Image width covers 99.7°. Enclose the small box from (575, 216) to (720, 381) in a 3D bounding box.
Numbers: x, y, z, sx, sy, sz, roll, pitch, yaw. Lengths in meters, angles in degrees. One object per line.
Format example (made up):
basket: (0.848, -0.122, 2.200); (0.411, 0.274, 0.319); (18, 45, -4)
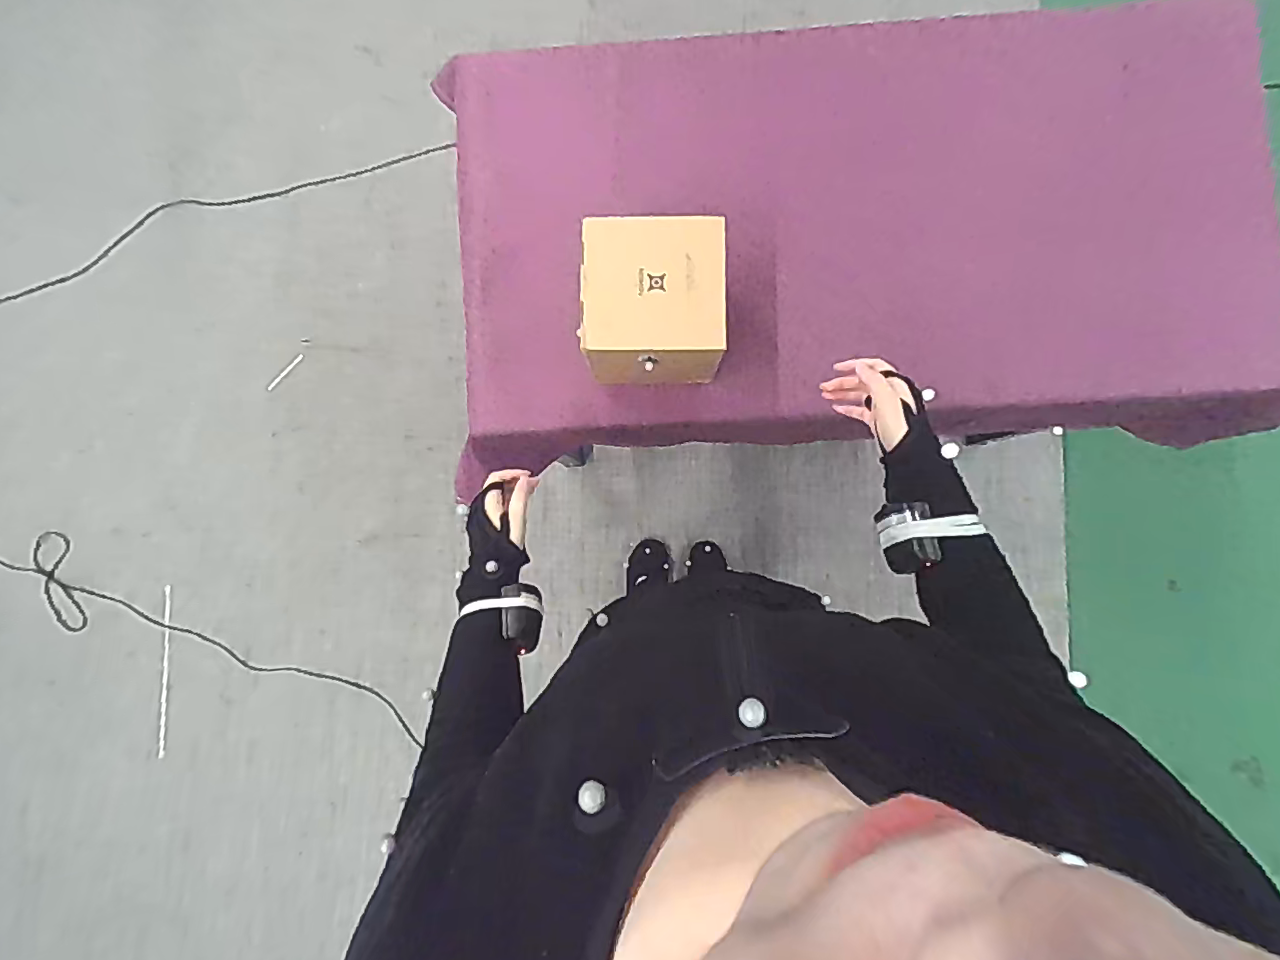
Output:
small box: (0.011, -0.234, 0.731); (0.179, 0.176, 0.168); (0, 87, 1)
